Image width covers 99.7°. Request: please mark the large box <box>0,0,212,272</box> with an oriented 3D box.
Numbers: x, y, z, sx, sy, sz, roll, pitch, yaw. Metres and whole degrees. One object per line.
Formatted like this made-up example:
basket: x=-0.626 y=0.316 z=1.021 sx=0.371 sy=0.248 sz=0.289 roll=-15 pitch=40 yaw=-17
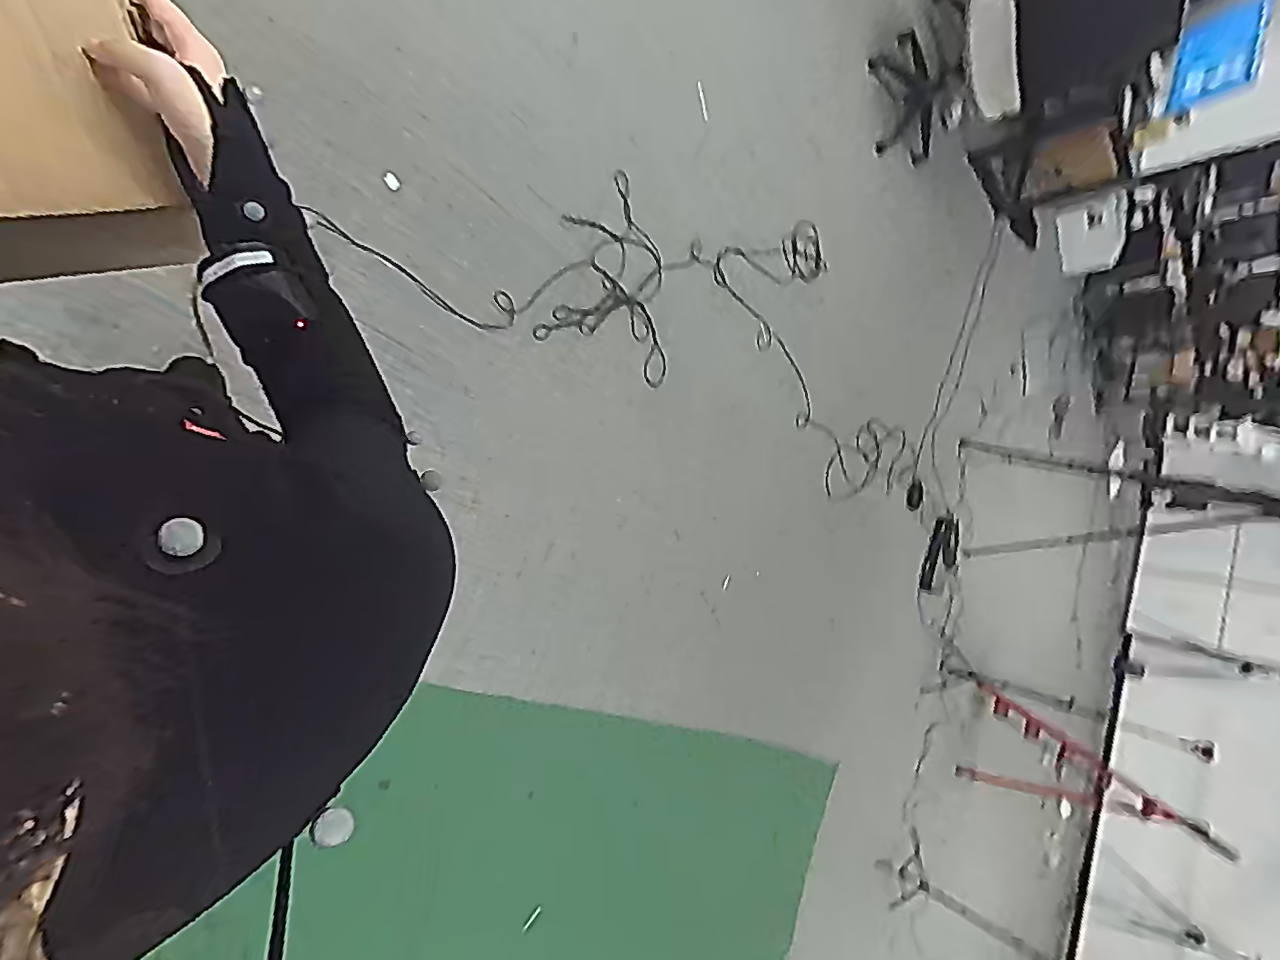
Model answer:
large box: x=-0.603 y=-0.316 z=0.377 sx=0.408 sy=0.320 sz=0.320 roll=-24 pitch=114 yaw=-33
